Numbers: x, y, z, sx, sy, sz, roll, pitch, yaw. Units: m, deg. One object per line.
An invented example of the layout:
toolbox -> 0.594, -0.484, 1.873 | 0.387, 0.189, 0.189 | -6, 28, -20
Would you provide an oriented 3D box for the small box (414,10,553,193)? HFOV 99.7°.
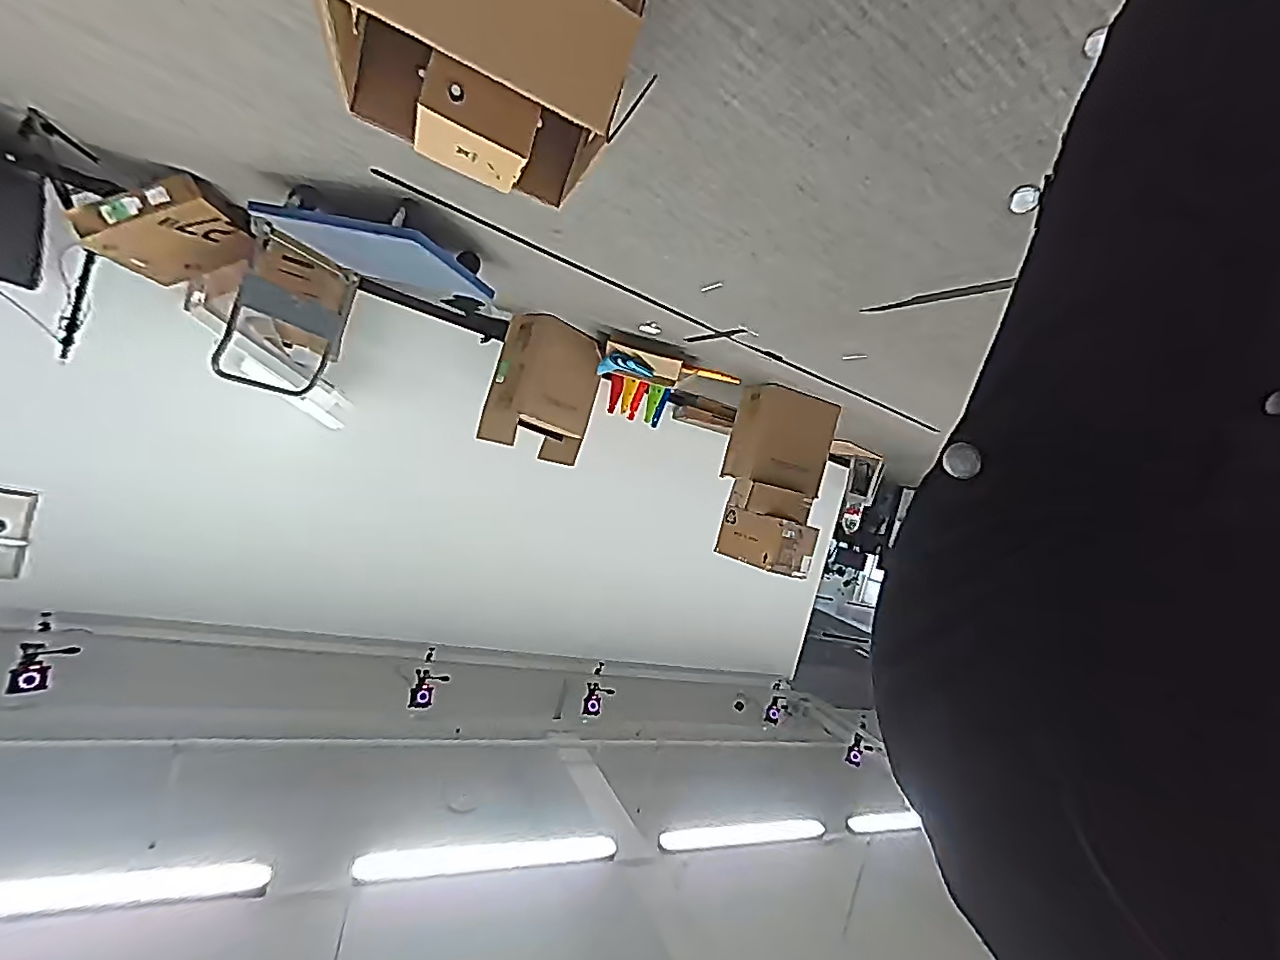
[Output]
small box -> -0.269, -0.637, 0.921 | 0.179, 0.176, 0.168 | 15, -179, -26
